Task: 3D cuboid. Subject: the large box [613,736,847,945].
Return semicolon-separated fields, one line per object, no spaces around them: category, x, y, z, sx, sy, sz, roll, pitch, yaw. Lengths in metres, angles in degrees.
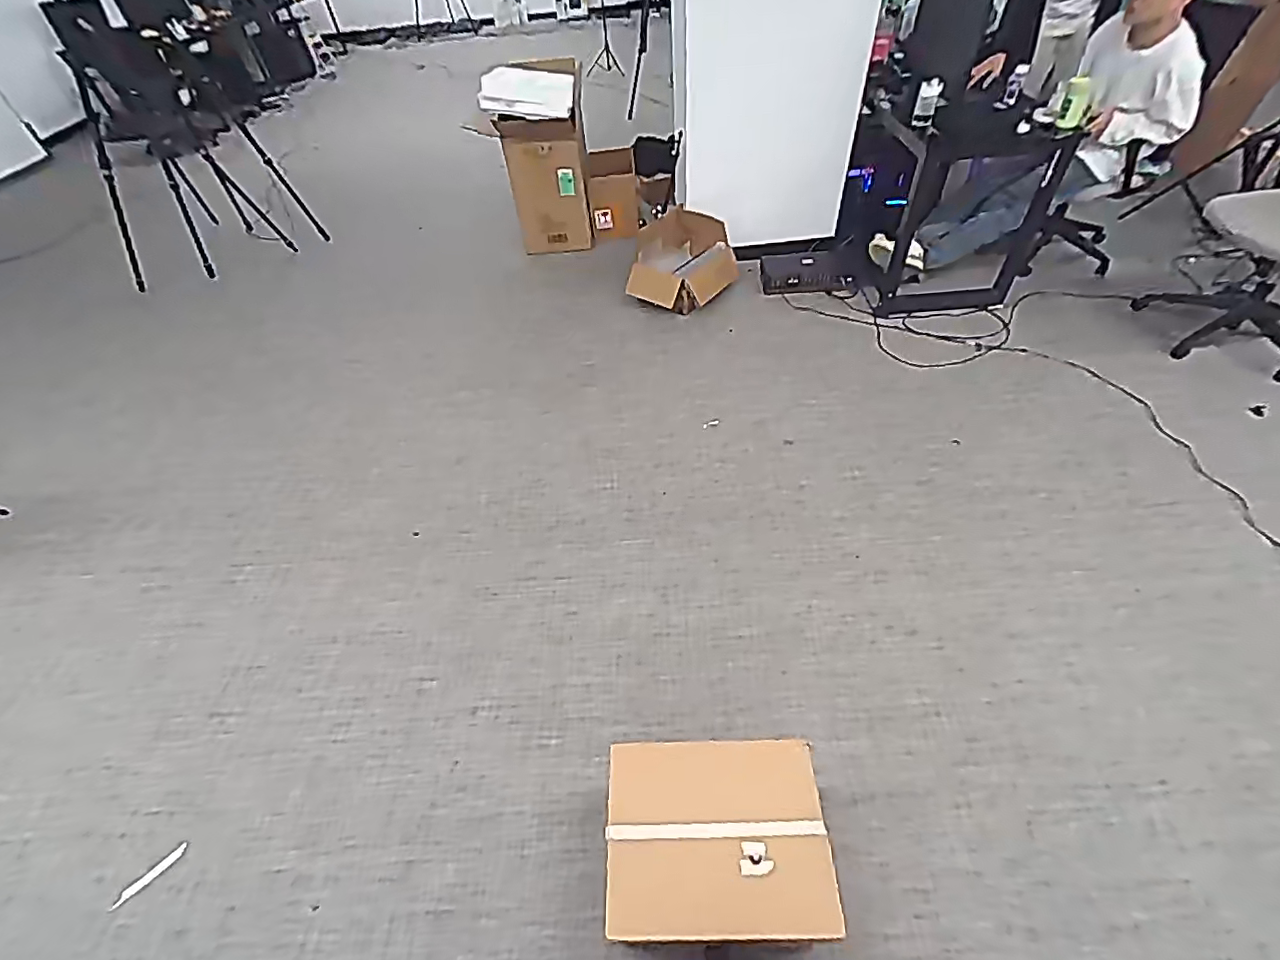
large box;0.154;0.746;1.115;0.408;0.320;0.320;-3;49;2
